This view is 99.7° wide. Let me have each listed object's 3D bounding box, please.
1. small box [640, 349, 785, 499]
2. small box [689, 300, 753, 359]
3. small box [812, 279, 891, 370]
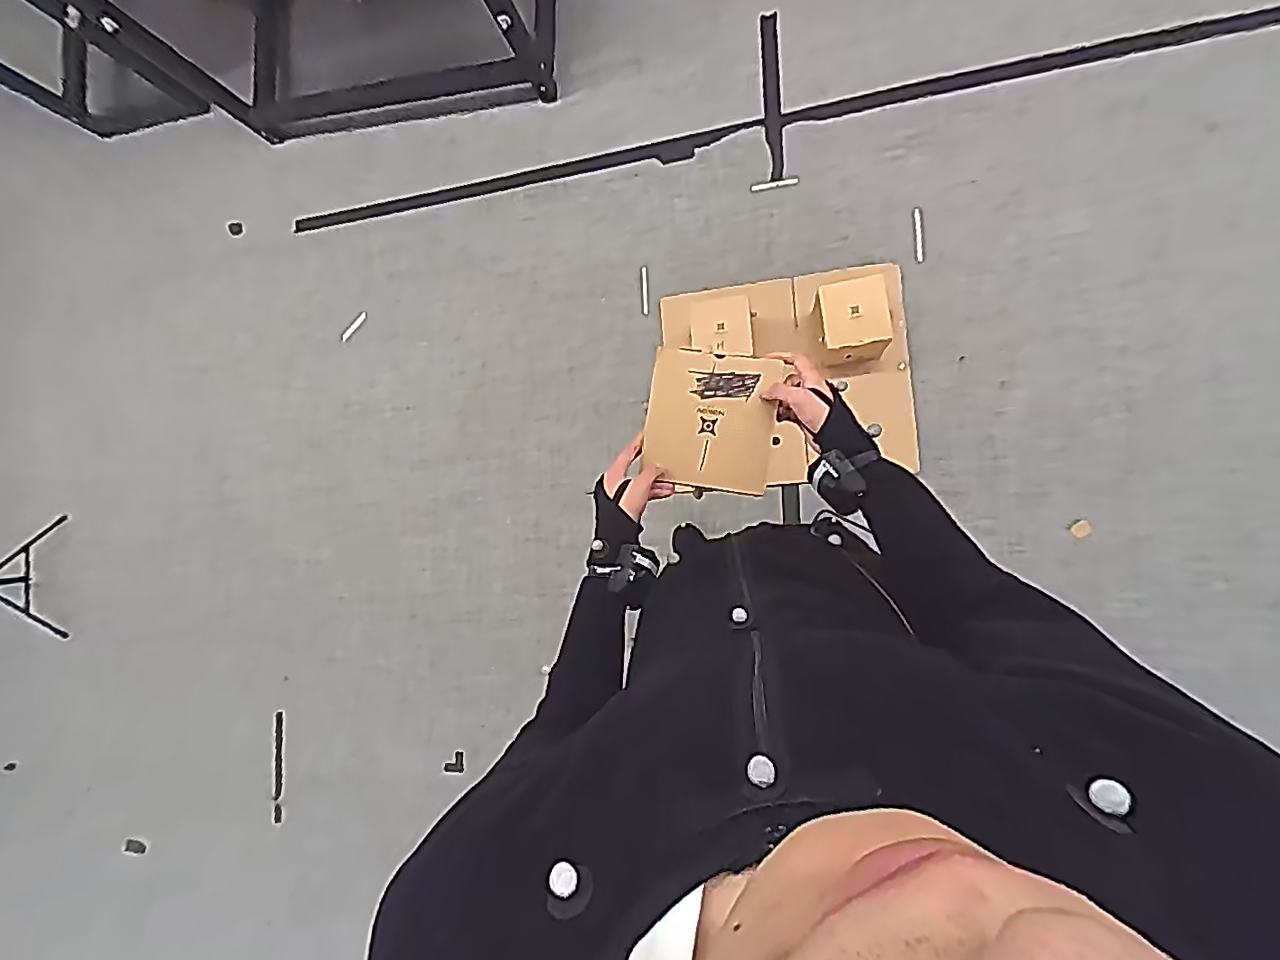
[{"bbox_3d":[0.102,-0.071,0.768,0.168,0.176,0.179,8,90,9],"label":"small box"},{"bbox_3d":[0.237,-0.394,1.556,0.168,0.176,0.179,-5,87,14],"label":"small box"},{"bbox_3d":[0.572,-0.419,1.483,0.168,0.176,0.179,-9,86,13],"label":"small box"}]
